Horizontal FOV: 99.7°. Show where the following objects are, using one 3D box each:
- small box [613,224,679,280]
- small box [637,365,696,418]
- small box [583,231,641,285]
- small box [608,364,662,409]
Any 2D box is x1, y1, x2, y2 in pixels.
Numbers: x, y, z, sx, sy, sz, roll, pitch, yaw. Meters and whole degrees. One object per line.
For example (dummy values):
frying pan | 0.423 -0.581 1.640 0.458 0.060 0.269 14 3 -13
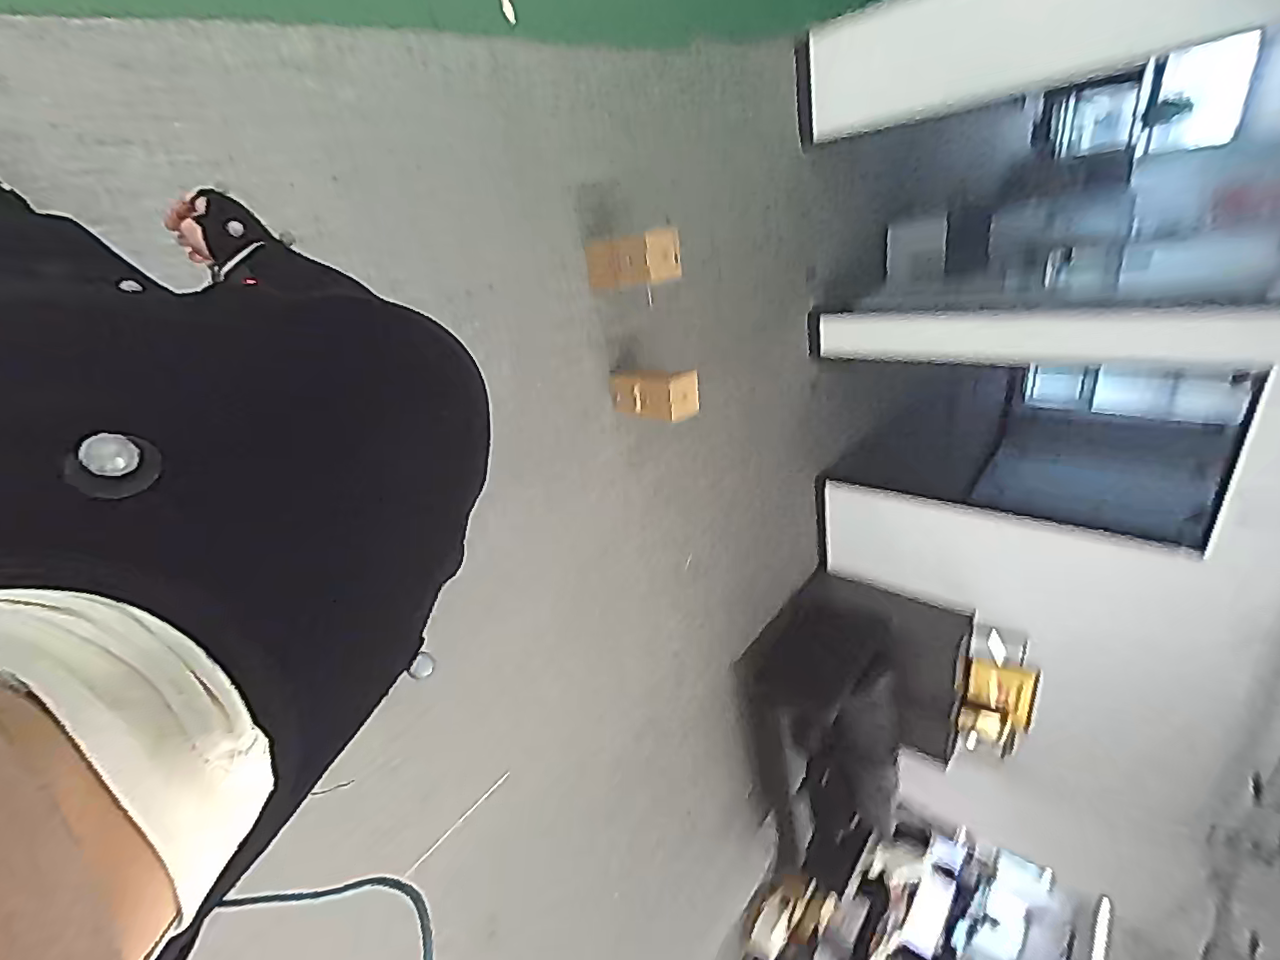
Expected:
small box | 0.018 -0.822 1.954 0.179 0.176 0.168 -29 121 -39
small box | 0.108 -0.364 2.191 0.179 0.176 0.168 -28 121 -40
small box | -0.099 -0.851 2.065 0.168 0.176 0.179 -29 122 -40
small box | -0.013 -0.400 2.290 0.179 0.176 0.168 -21 114 -42
